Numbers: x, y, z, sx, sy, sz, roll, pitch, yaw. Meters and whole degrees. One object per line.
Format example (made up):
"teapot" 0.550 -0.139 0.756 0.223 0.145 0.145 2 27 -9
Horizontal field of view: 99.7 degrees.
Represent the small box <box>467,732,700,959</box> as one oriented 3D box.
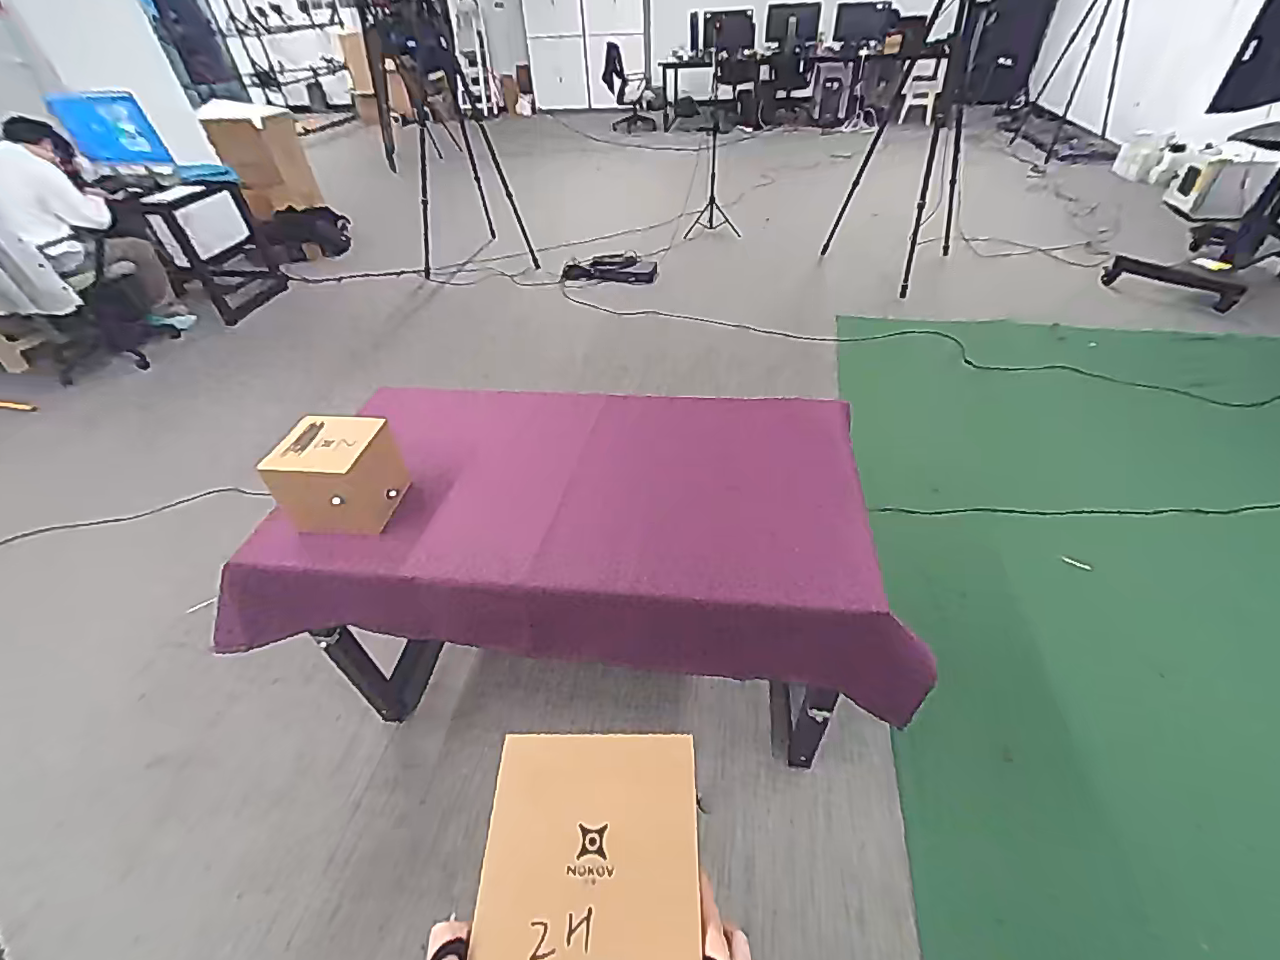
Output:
"small box" -0.033 0.339 0.474 0.168 0.176 0.179 -1 50 4
